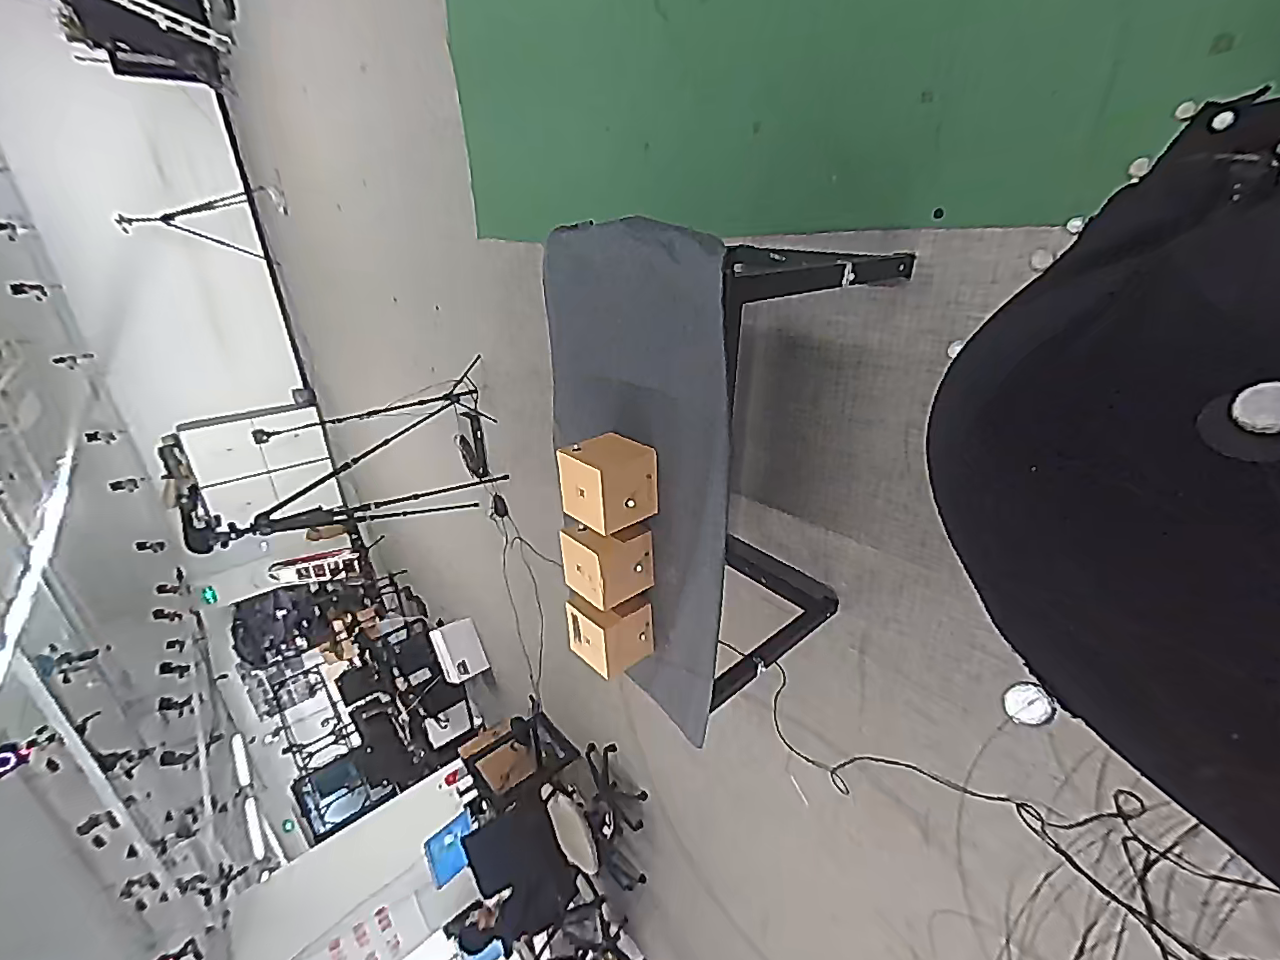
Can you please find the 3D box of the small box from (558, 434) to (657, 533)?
[{"bbox_3d":[-0.071,0.000,1.288,0.179,0.176,0.168,24,125,45],"label":"small box"}]

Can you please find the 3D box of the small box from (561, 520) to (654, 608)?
[{"bbox_3d":[-0.082,0.196,1.398,0.179,0.176,0.168,23,125,45],"label":"small box"}]
